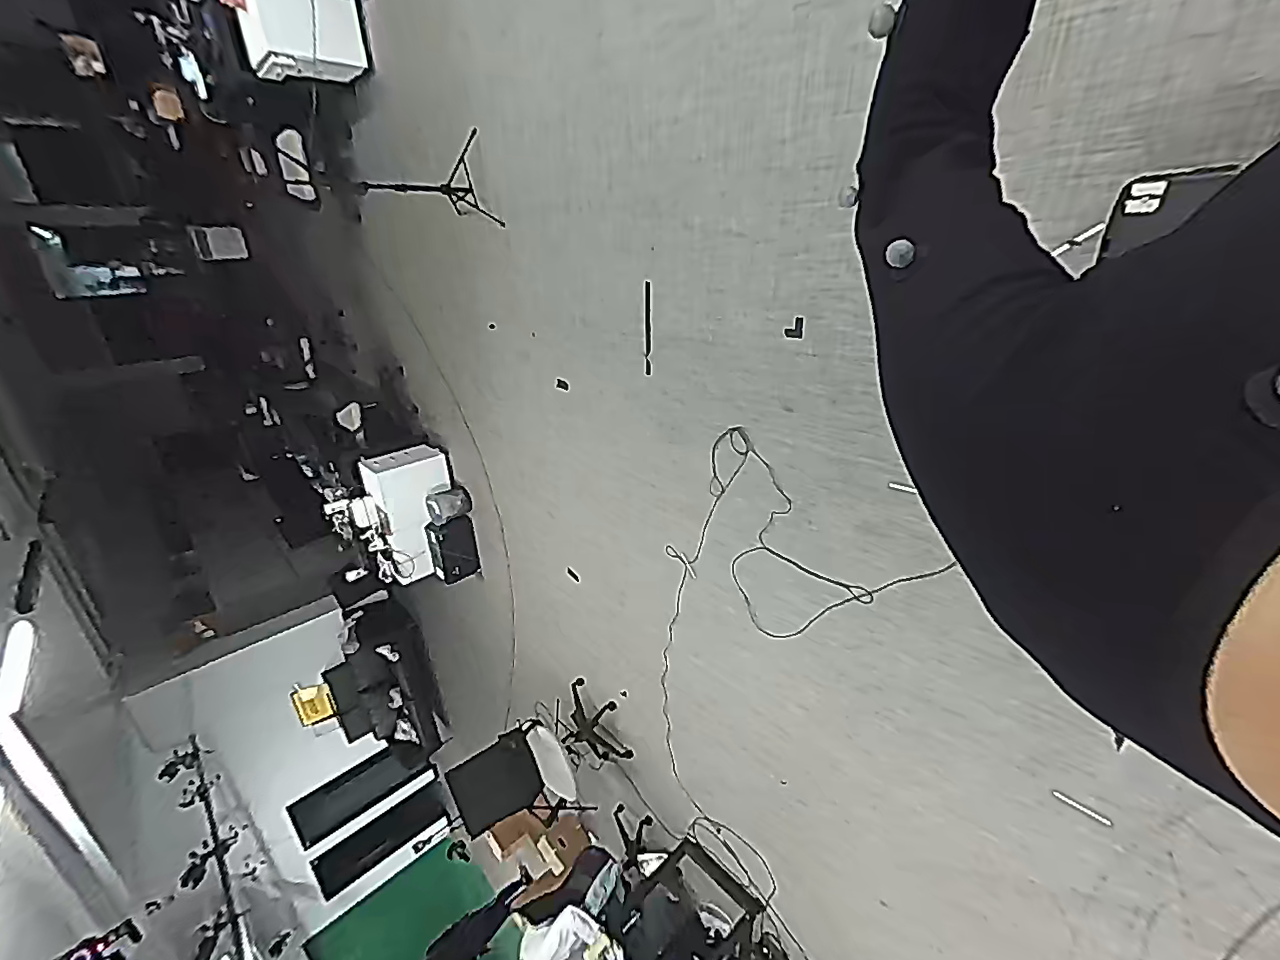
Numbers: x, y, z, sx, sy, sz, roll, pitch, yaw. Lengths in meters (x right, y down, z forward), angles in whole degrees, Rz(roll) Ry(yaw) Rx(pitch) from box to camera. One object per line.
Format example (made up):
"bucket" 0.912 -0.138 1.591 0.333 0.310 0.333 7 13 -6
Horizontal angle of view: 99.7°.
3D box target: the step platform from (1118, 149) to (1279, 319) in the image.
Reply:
"step platform" 1.258 -0.421 0.904 0.684 0.204 0.286 18 121 43
